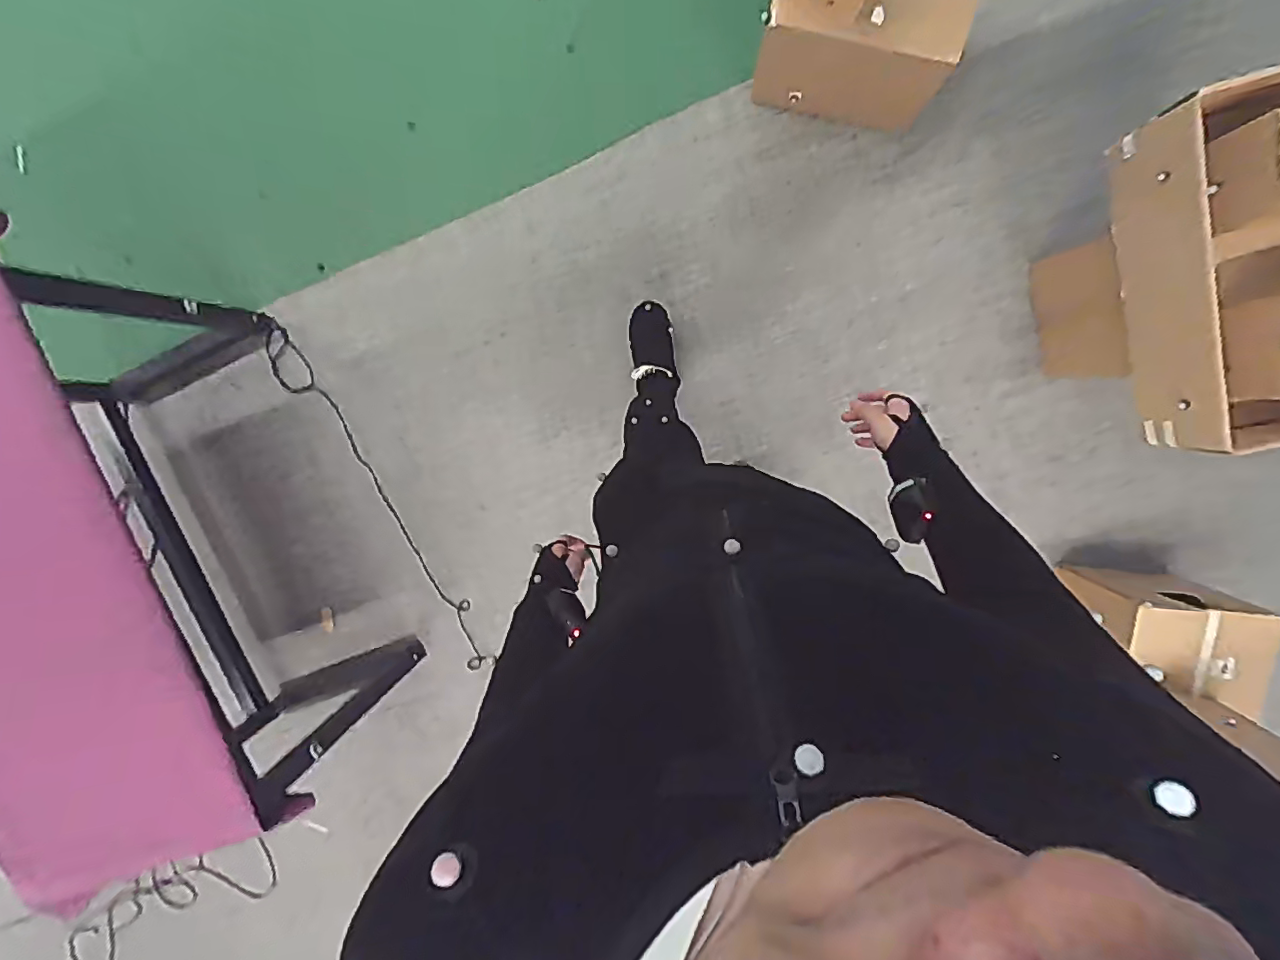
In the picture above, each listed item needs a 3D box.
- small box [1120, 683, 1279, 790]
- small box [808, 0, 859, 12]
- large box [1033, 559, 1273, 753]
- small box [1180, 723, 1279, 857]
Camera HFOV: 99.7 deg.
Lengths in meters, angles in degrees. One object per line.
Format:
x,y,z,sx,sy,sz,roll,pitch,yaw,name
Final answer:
1.237,0.576,1.199,0.179,0.176,0.168,10,99,6,small box
0.378,-1.043,1.009,0.168,0.176,0.179,17,102,1,small box
1.305,0.452,1.421,0.320,0.320,0.408,3,99,4,large box
1.214,0.596,1.038,0.179,0.176,0.168,10,99,4,small box
